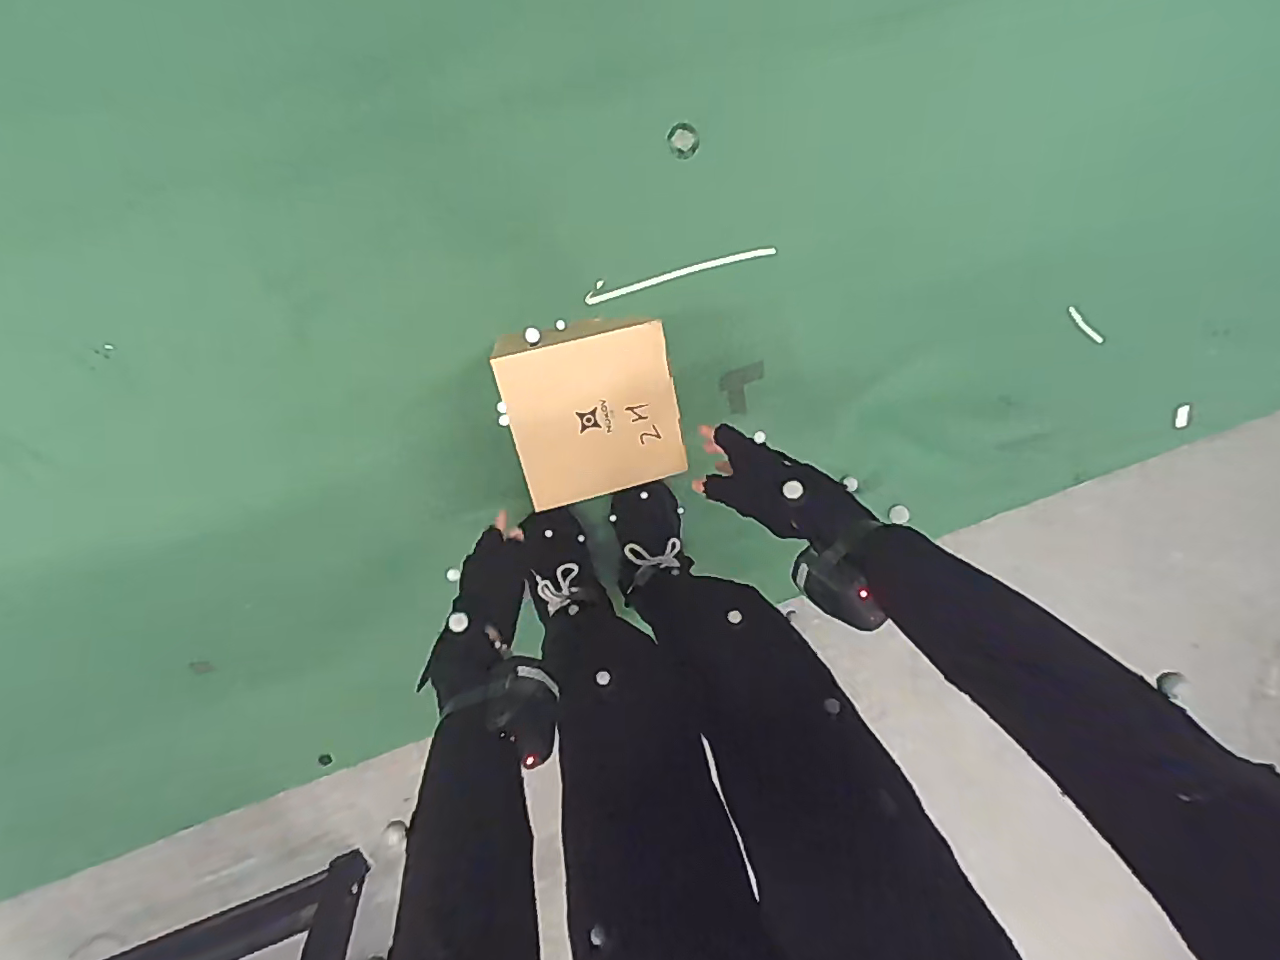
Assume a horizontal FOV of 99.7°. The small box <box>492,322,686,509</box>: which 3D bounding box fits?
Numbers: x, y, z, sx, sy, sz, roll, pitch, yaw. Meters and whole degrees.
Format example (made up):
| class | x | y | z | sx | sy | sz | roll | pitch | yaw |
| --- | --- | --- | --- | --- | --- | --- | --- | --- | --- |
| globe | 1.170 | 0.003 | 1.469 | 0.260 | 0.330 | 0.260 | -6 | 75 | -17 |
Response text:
| class | x | y | z | sx | sy | sz | roll | pitch | yaw |
| --- | --- | --- | --- | --- | --- | --- | --- | --- | --- |
| small box | -0.063 | -0.086 | 0.639 | 0.179 | 0.176 | 0.168 | -15 | 110 | -8 |
